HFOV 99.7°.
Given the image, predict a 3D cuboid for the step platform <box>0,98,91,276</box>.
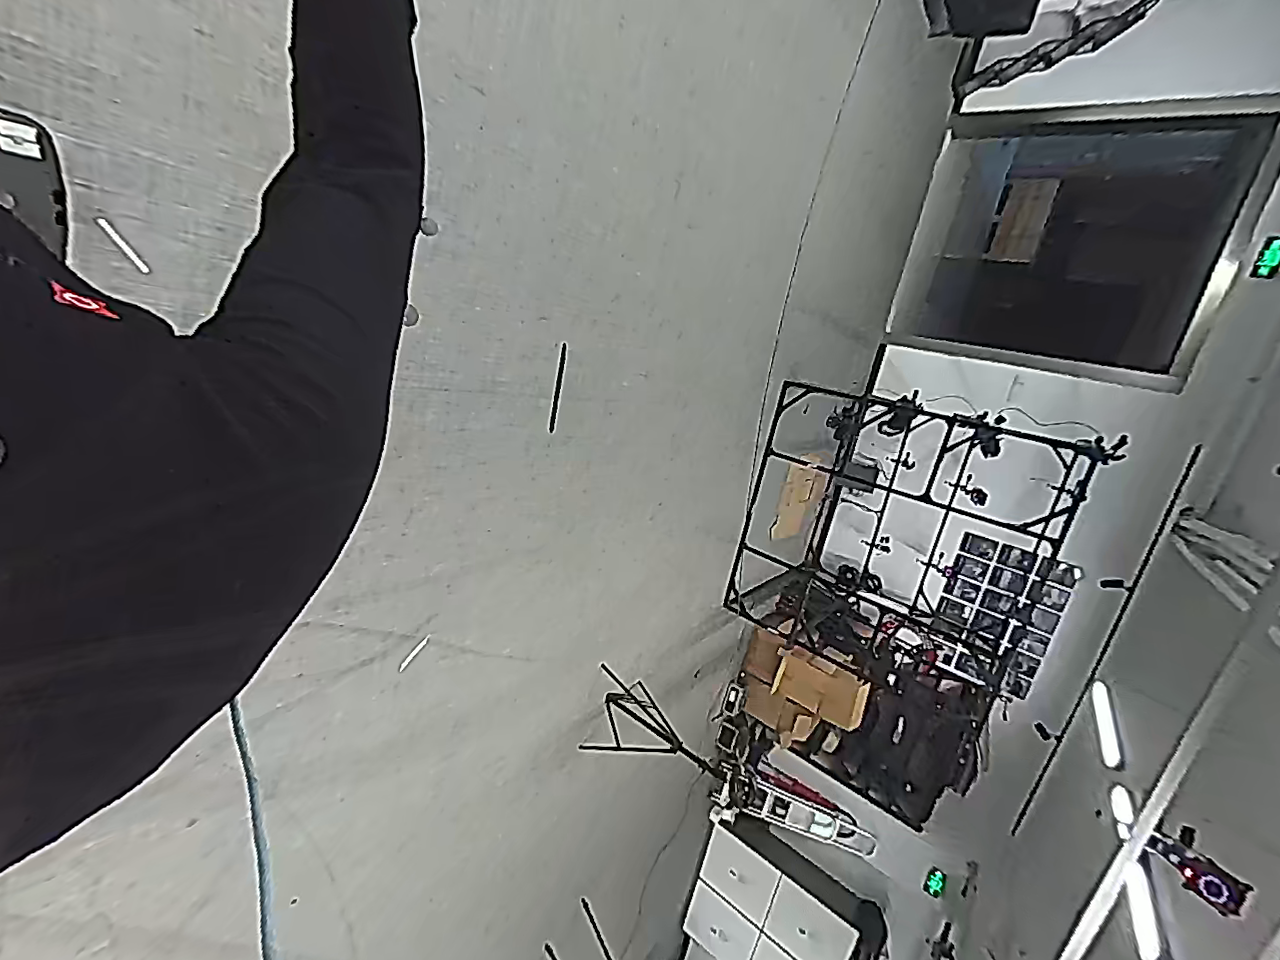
[{"bbox_3d":[-1.292,-0.507,0.793,0.684,0.204,0.286,-12,118,-53],"label":"step platform"}]
